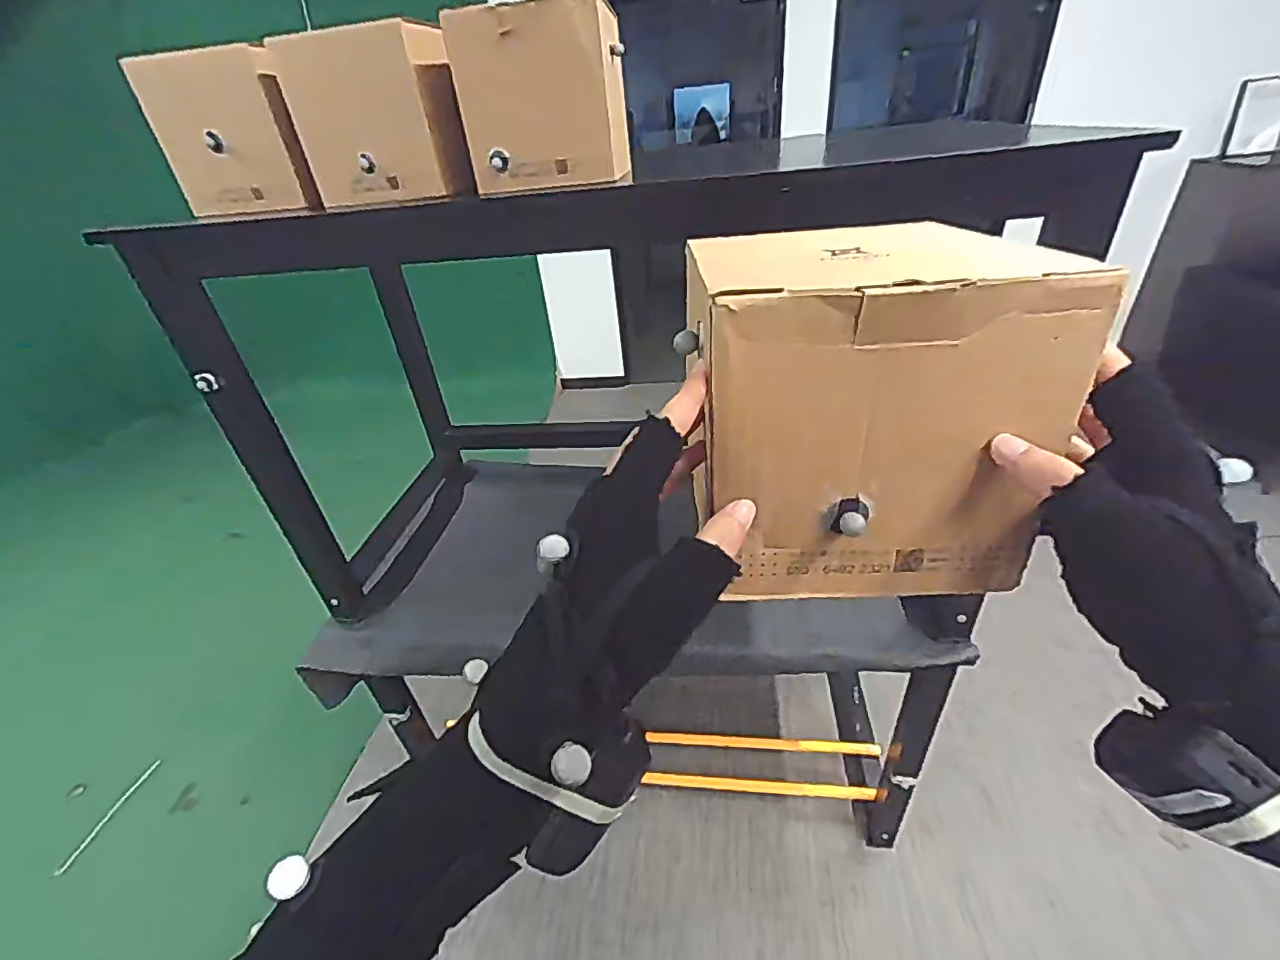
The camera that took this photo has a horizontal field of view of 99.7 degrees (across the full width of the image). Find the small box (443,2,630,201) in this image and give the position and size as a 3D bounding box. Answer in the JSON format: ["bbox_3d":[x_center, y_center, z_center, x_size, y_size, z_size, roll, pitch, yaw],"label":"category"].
[{"bbox_3d":[-0.107,-0.442,0.656,0.168,0.176,0.179,-2,32,7],"label":"small box"}]

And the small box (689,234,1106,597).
[{"bbox_3d":[0.115,-0.049,0.334,0.168,0.176,0.179,-3,30,3],"label":"small box"}]

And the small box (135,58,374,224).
[{"bbox_3d":[-0.497,-0.450,0.734,0.168,0.176,0.179,0,33,8],"label":"small box"}]
